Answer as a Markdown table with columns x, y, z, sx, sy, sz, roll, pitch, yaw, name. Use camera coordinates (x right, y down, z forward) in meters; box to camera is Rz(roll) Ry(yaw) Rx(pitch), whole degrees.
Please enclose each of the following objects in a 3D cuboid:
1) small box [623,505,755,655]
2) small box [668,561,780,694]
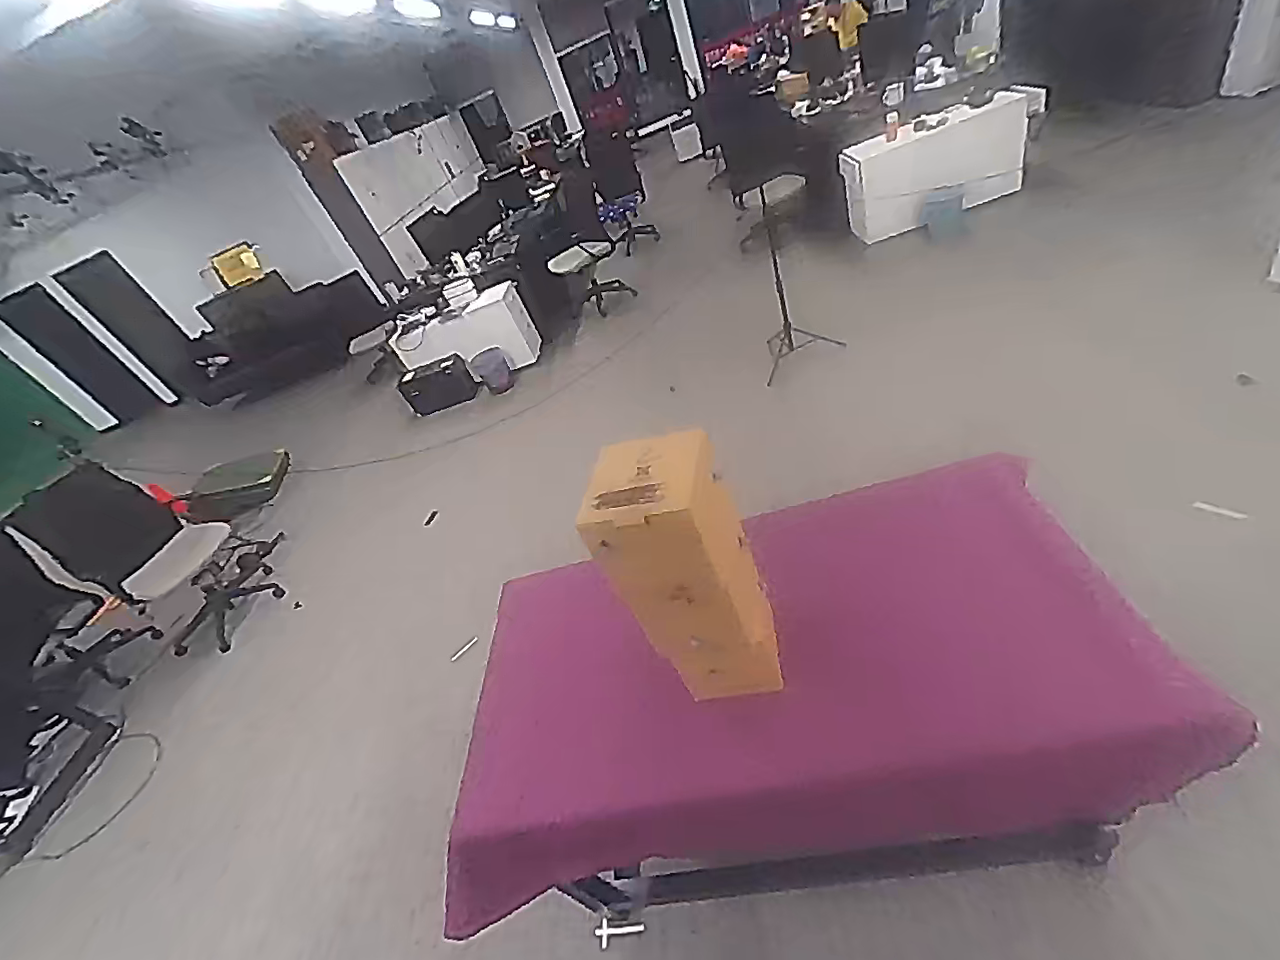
| x | y | z | sx | sy | sz | roll | pitch | yaw | name |
| --- | --- | --- | --- | --- | --- | --- | --- | --- | --- |
| 0.091 | 0.168 | 0.899 | 0.168 | 0.176 | 0.179 | -10 | 39 | 21 | small box |
| 0.154 | 0.279 | 1.003 | 0.168 | 0.176 | 0.179 | -14 | 37 | 15 | small box |
